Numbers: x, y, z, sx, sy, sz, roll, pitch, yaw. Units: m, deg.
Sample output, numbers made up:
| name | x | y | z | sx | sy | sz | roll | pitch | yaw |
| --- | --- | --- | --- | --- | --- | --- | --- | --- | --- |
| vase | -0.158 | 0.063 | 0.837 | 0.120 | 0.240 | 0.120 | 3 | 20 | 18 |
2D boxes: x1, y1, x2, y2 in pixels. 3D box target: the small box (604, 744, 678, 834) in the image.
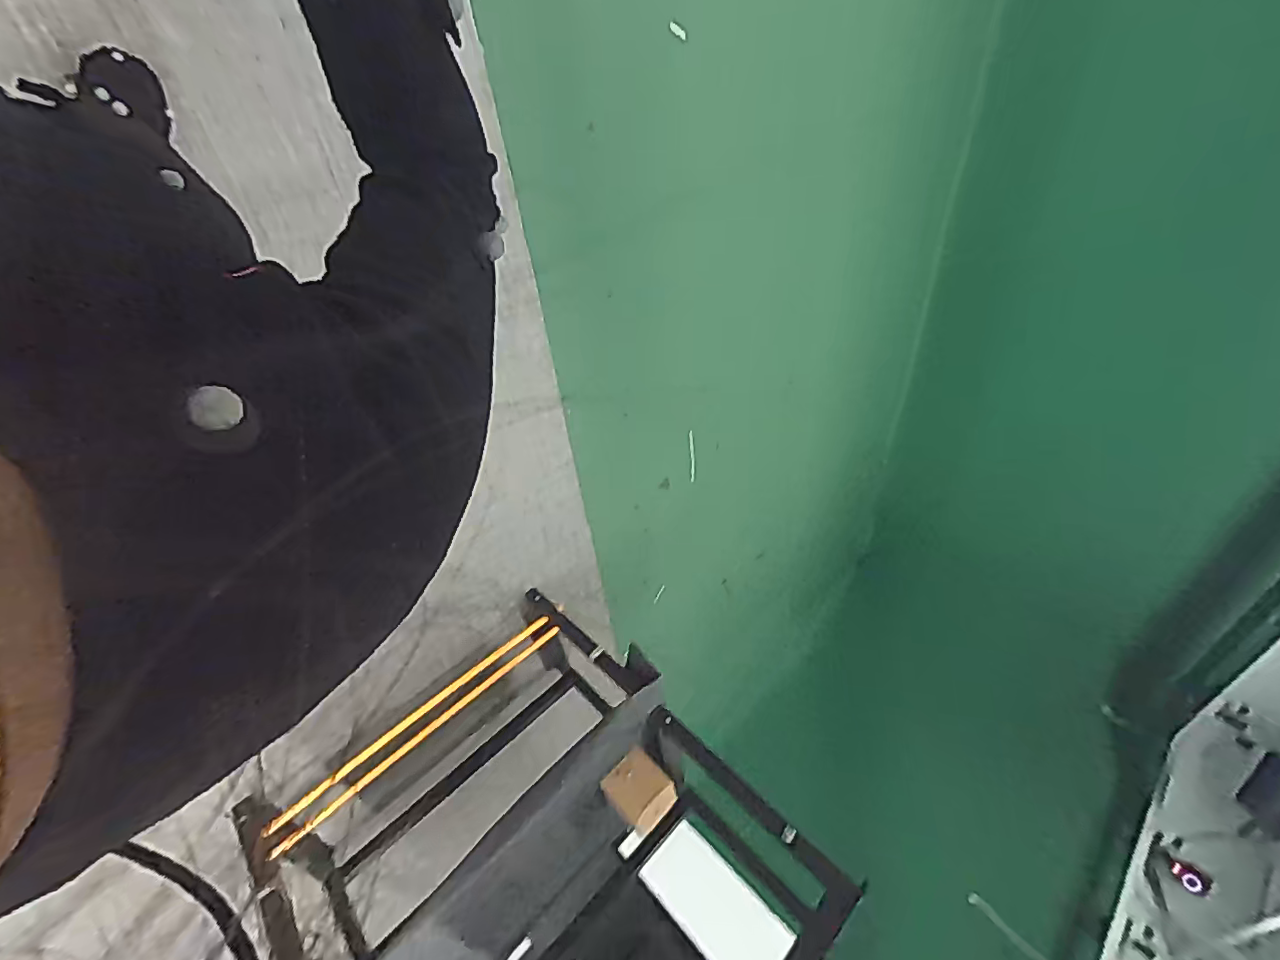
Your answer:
| name | x | y | z | sx | sy | sz | roll | pitch | yaw |
| --- | --- | --- | --- | --- | --- | --- | --- | --- | --- |
| small box | 0.004 | 1.013 | 1.785 | 0.168 | 0.176 | 0.179 | -37 | 138 | -27 |
